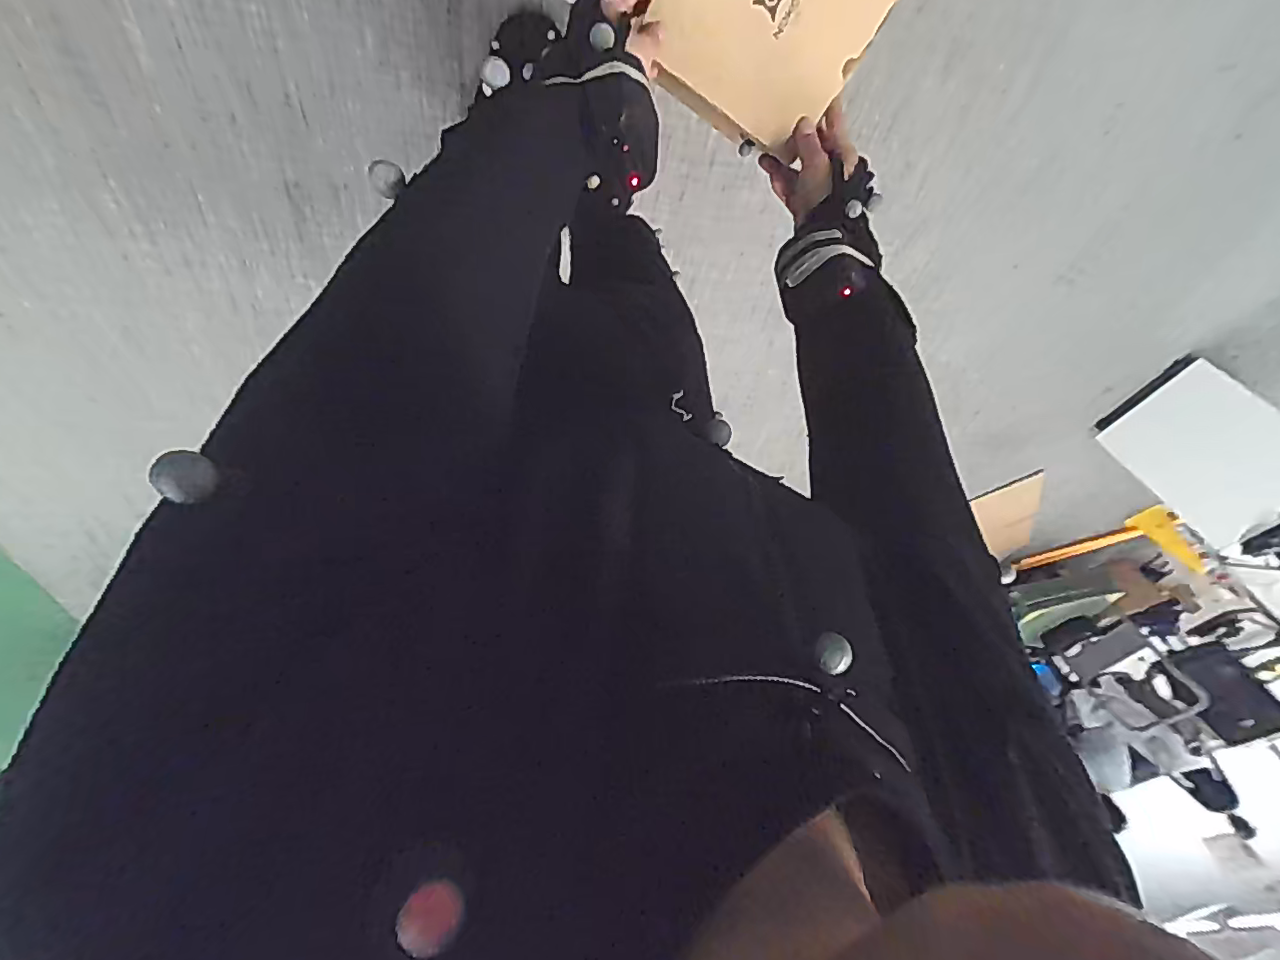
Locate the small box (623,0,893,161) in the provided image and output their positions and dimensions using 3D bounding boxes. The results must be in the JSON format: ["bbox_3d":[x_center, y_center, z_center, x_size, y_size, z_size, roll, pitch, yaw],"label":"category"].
[{"bbox_3d":[0.096,-0.426,0.493,0.179,0.176,0.168,23,120,-21],"label":"small box"}]
